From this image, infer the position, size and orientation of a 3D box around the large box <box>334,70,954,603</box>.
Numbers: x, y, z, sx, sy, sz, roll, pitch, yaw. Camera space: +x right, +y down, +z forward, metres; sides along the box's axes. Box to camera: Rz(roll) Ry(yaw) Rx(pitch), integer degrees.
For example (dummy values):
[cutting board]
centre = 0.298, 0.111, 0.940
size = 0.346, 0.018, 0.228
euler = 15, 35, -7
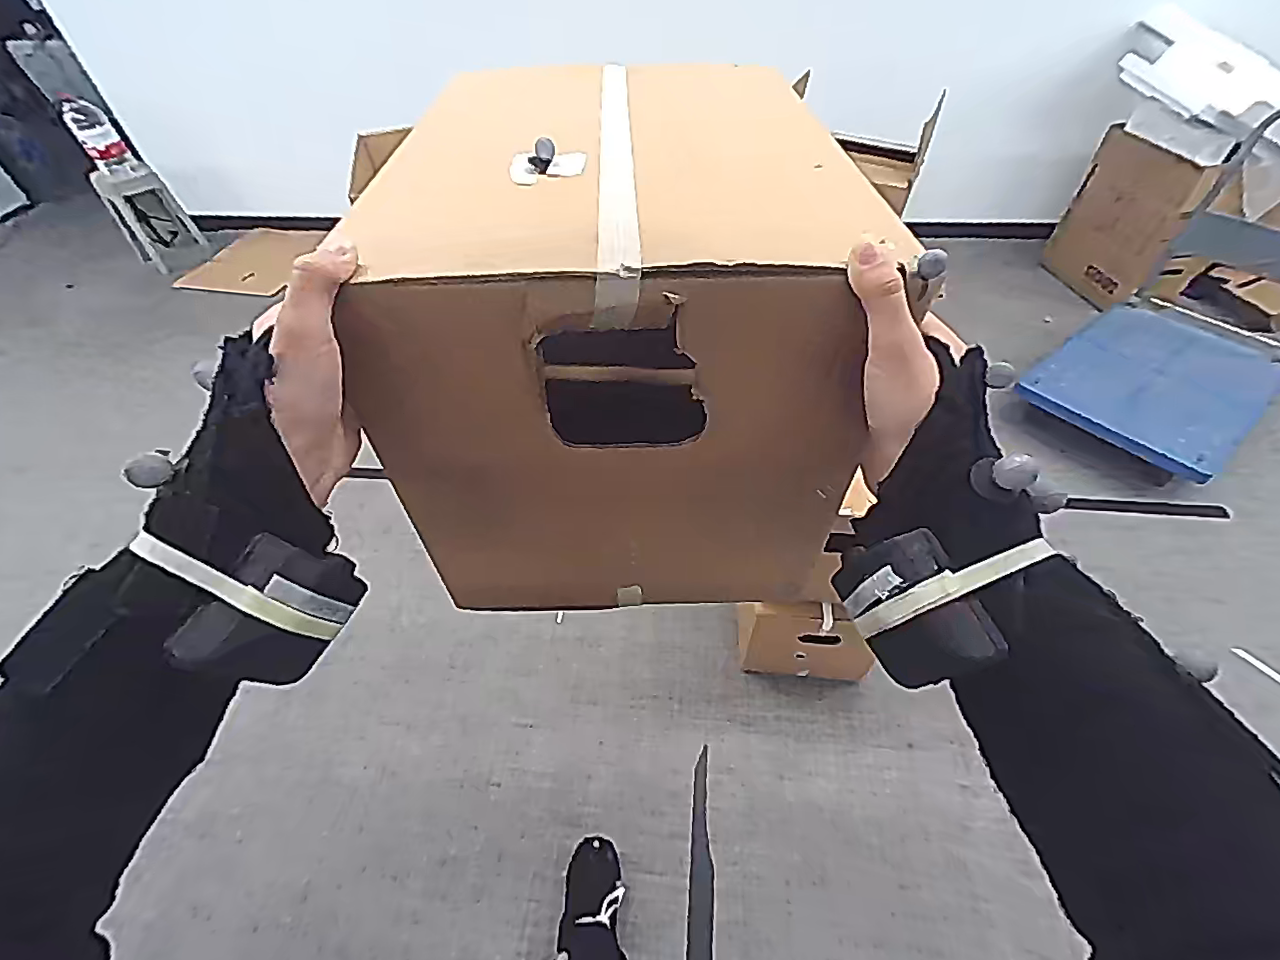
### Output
[large box]
centre = -0.007, -0.141, 0.502
size = 0.320, 0.320, 0.408
euler = -3, 49, -1
